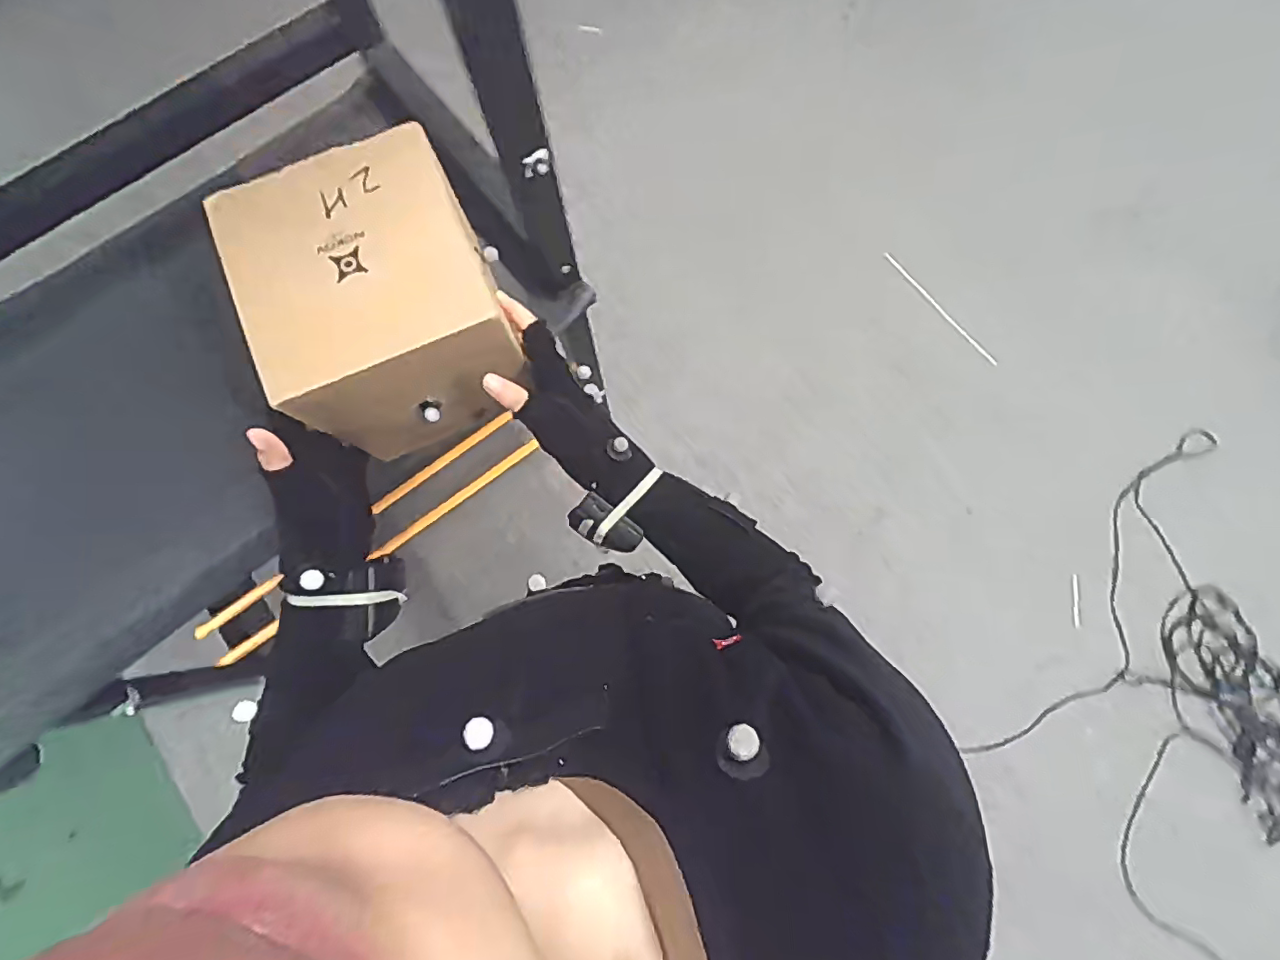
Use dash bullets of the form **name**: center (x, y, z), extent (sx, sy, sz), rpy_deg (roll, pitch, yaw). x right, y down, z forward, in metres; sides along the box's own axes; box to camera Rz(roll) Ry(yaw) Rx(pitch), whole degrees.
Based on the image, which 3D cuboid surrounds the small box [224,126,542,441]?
- **small box**: center (-0.199, -0.146, 0.469), extent (0.168, 0.176, 0.179), rpy_deg (-23, 79, -4)
